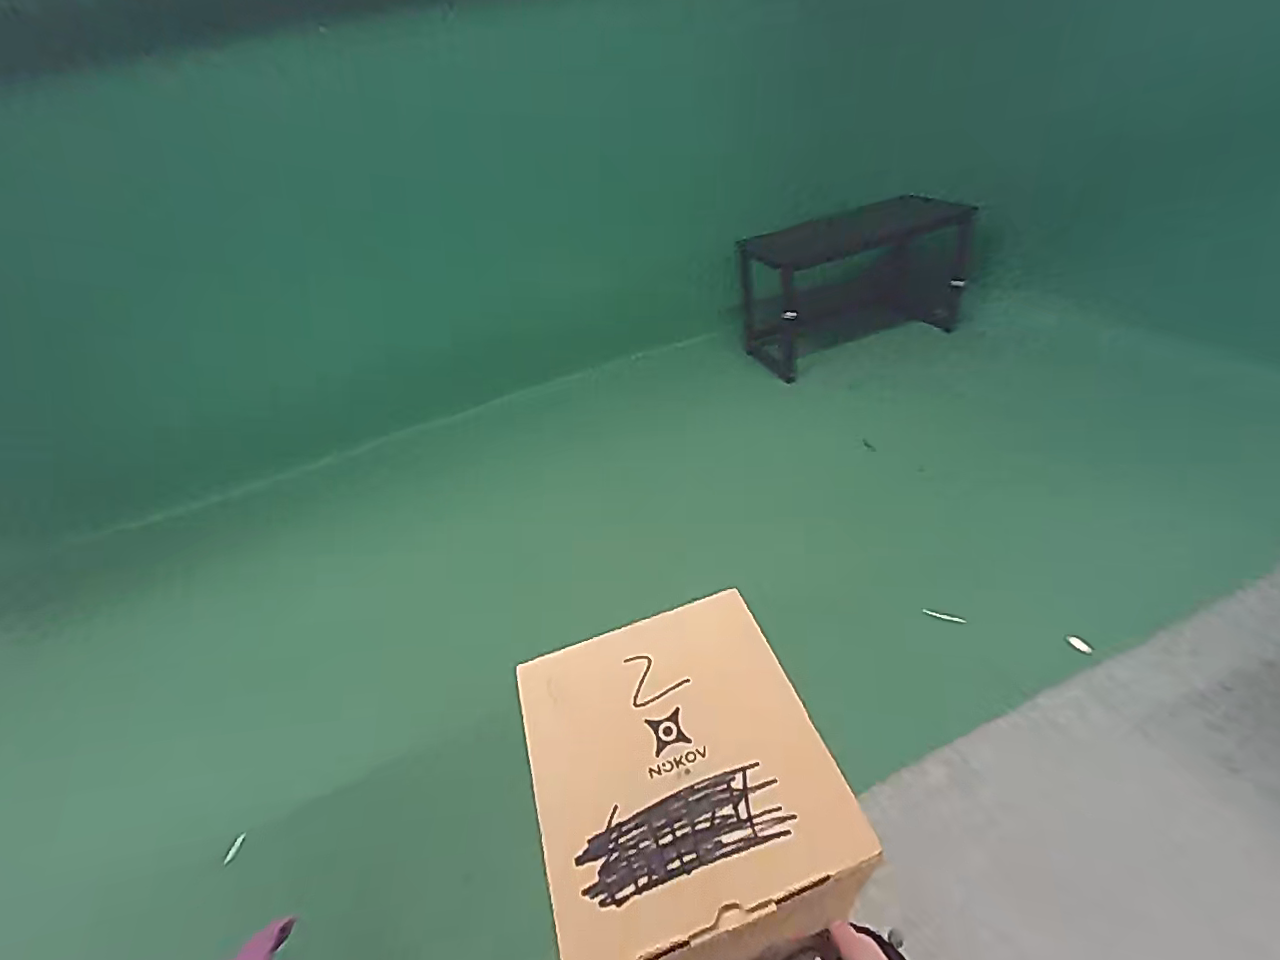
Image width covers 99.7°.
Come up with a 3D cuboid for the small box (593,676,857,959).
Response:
[{"bbox_3d":[0.064,0.315,0.486,0.168,0.176,0.179,-16,43,-6],"label":"small box"}]
